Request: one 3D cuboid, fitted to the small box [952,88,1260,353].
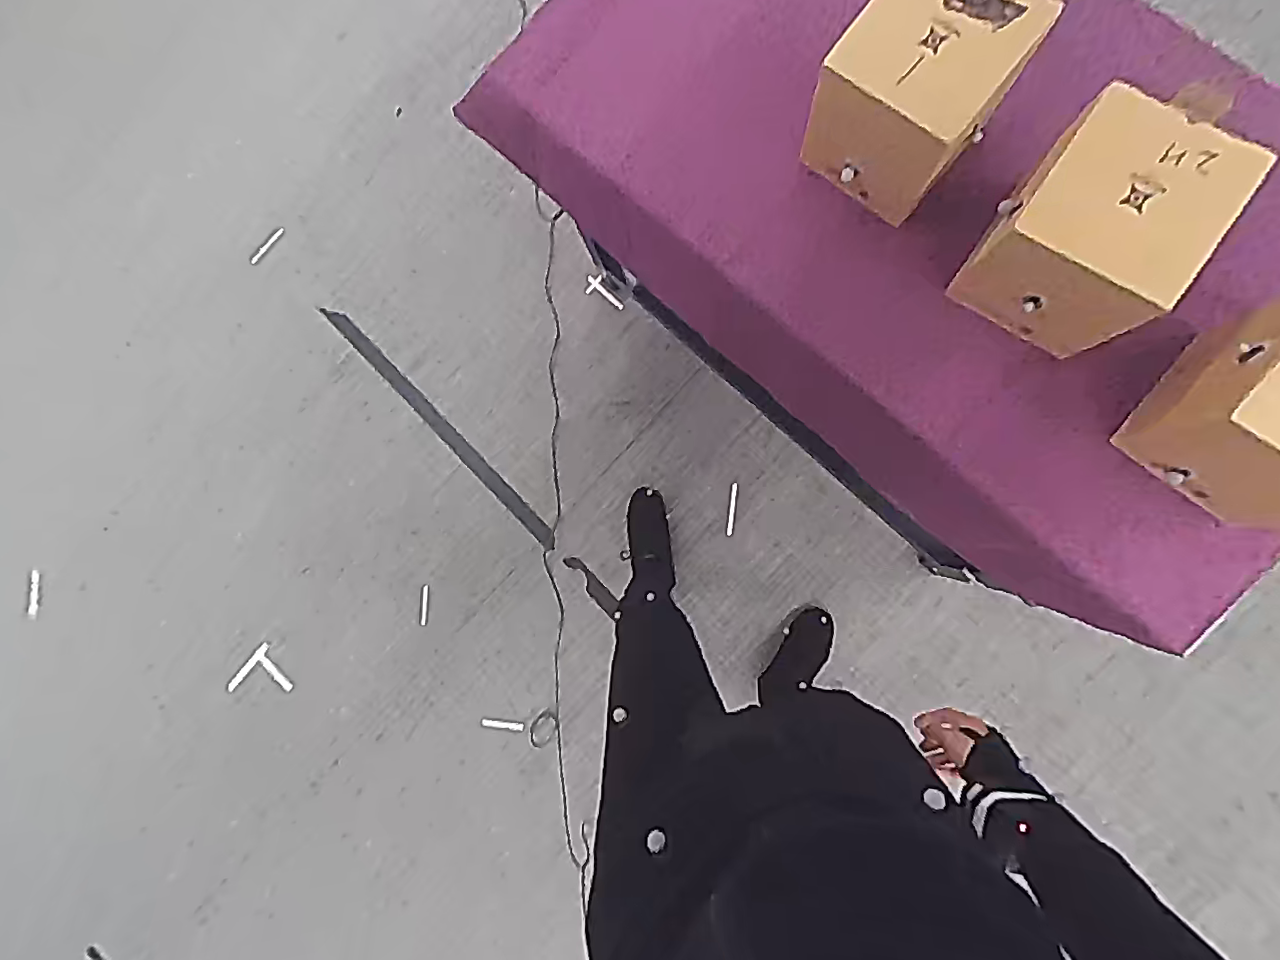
[{"bbox_3d":[0.490,-0.271,0.608,0.168,0.176,0.179,34,91,8],"label":"small box"}]

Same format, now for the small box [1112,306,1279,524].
[{"bbox_3d":[0.670,-0.070,0.570,0.168,0.176,0.179,40,91,9],"label":"small box"}]

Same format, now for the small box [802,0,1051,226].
[{"bbox_3d":[0.316,-0.452,0.644,0.168,0.176,0.179,40,93,8],"label":"small box"}]
